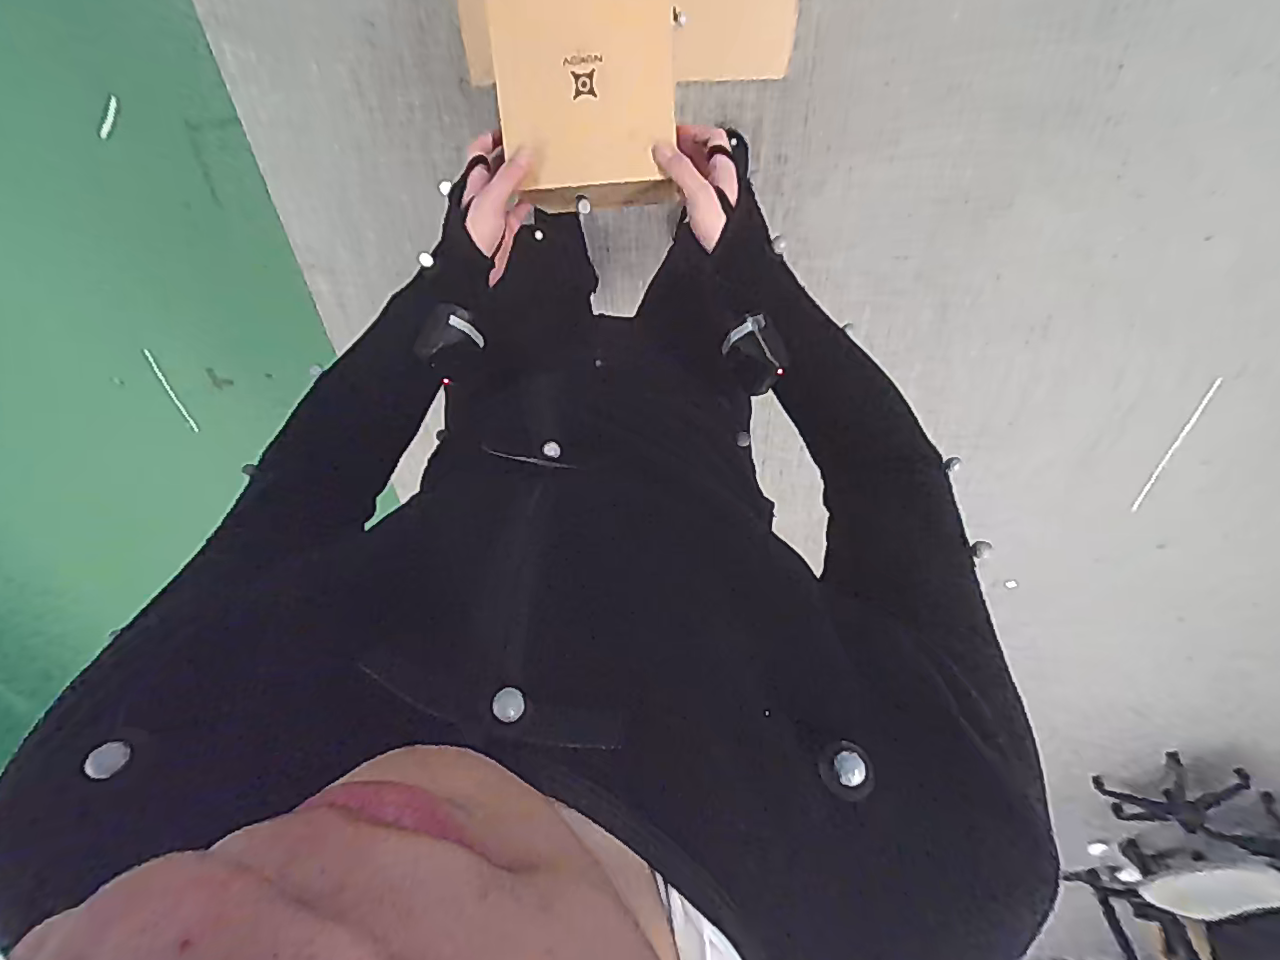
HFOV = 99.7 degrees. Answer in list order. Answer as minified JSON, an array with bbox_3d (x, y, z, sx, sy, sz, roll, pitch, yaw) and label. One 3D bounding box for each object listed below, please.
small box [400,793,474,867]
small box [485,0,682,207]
[{"bbox_3d":[-0.697,1.218,1.882,0.168,0.176,0.179,-1,130,6],"label":"small box"},{"bbox_3d":[-0.043,-0.391,0.559,0.168,0.176,0.179,-2,108,6],"label":"small box"}]
